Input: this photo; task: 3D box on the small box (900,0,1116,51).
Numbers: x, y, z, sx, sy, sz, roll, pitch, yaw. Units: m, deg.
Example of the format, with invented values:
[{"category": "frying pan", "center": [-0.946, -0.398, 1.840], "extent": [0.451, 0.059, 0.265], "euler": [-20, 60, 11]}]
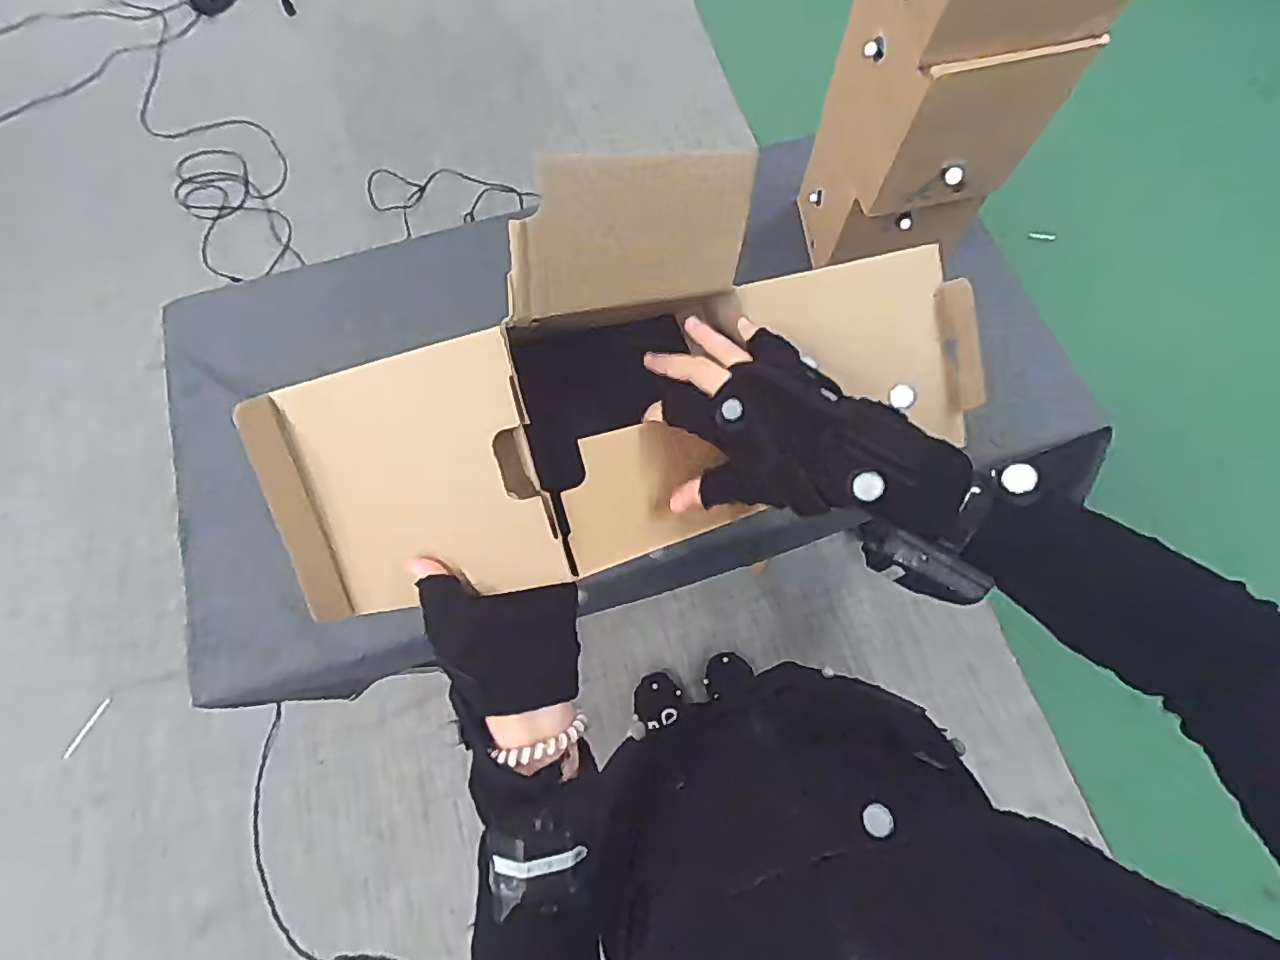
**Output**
[{"category": "small box", "center": [0.312, -0.480, 0.423], "extent": [0.179, 0.176, 0.168], "euler": [-9, 73, 0]}]

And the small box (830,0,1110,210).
[{"category": "small box", "center": [0.324, -0.429, 0.577], "extent": [0.168, 0.176, 0.179], "euler": [-12, 73, -1]}]

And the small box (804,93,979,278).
[{"category": "small box", "center": [0.334, -0.398, 0.739], "extent": [0.179, 0.176, 0.168], "euler": [-5, 73, 0]}]
